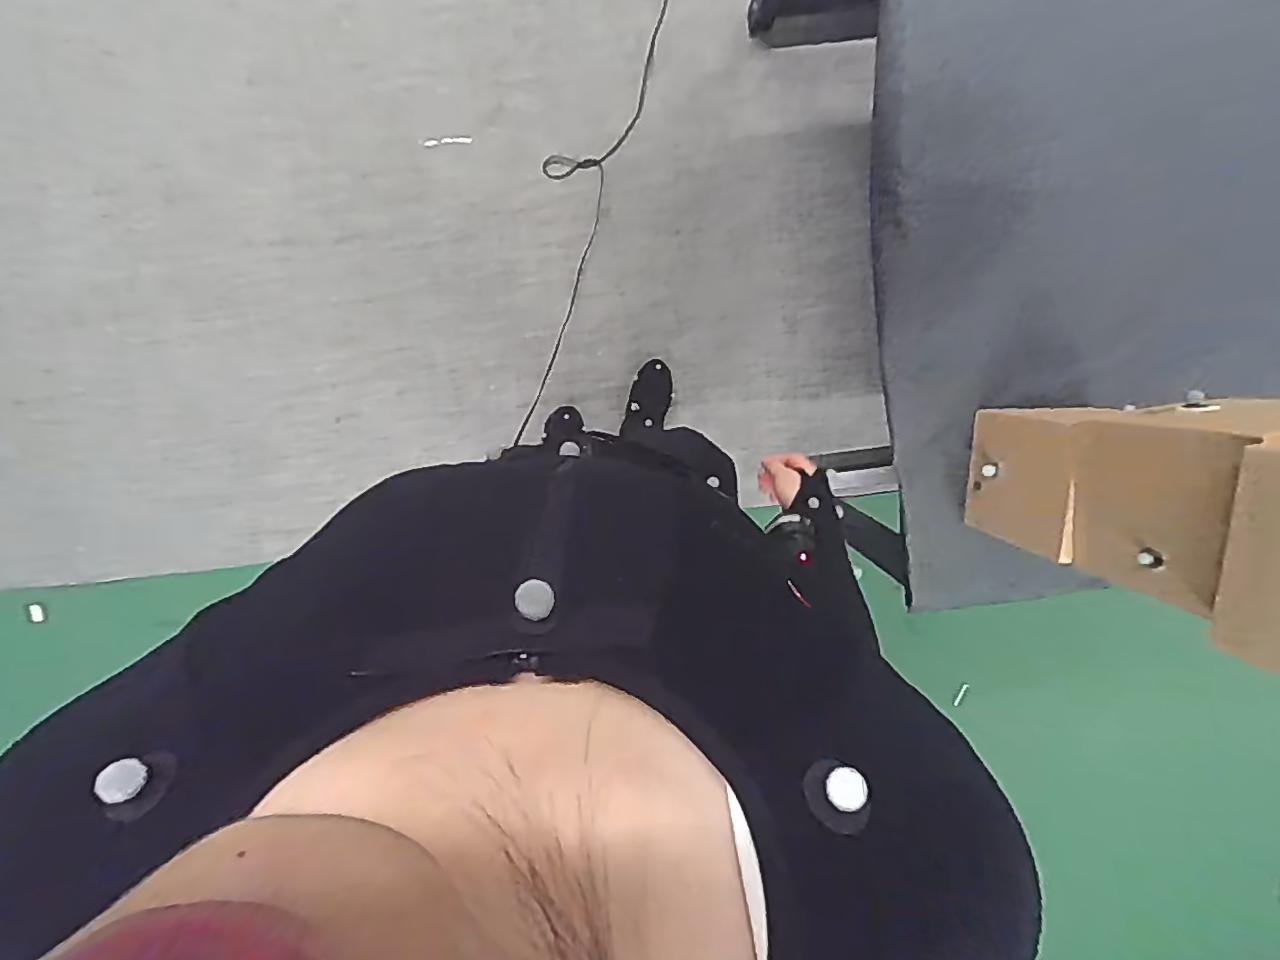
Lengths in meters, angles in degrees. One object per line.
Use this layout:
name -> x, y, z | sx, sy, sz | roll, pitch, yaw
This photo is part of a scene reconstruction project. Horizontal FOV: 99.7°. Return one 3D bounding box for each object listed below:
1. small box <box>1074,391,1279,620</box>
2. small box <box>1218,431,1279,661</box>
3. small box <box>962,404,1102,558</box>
small box -> 0.563, 0.013, 0.521 | 0.168, 0.176, 0.179 | -9, 100, -5
small box -> 0.558, 0.060, 0.361 | 0.168, 0.176, 0.179 | -4, 101, -6
small box -> 0.550, -0.008, 0.682 | 0.179, 0.176, 0.168 | -1, 101, -4
